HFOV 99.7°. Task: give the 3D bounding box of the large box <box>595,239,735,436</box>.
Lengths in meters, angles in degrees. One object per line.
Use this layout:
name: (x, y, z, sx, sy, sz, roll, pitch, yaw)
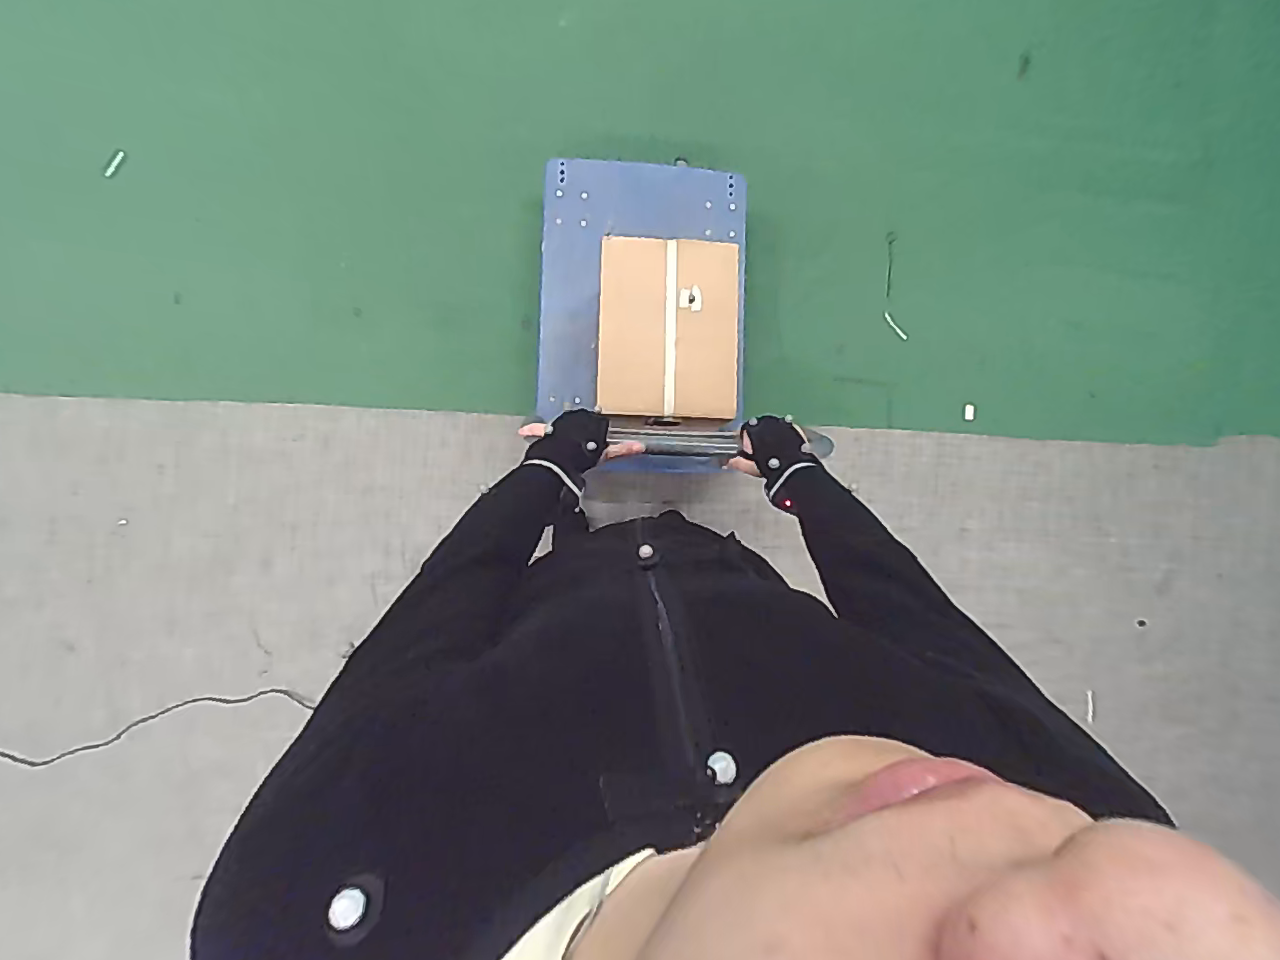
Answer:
large box: (0.045, -0.328, 1.350, 0.320, 0.320, 0.408, 1, 85, -6)
